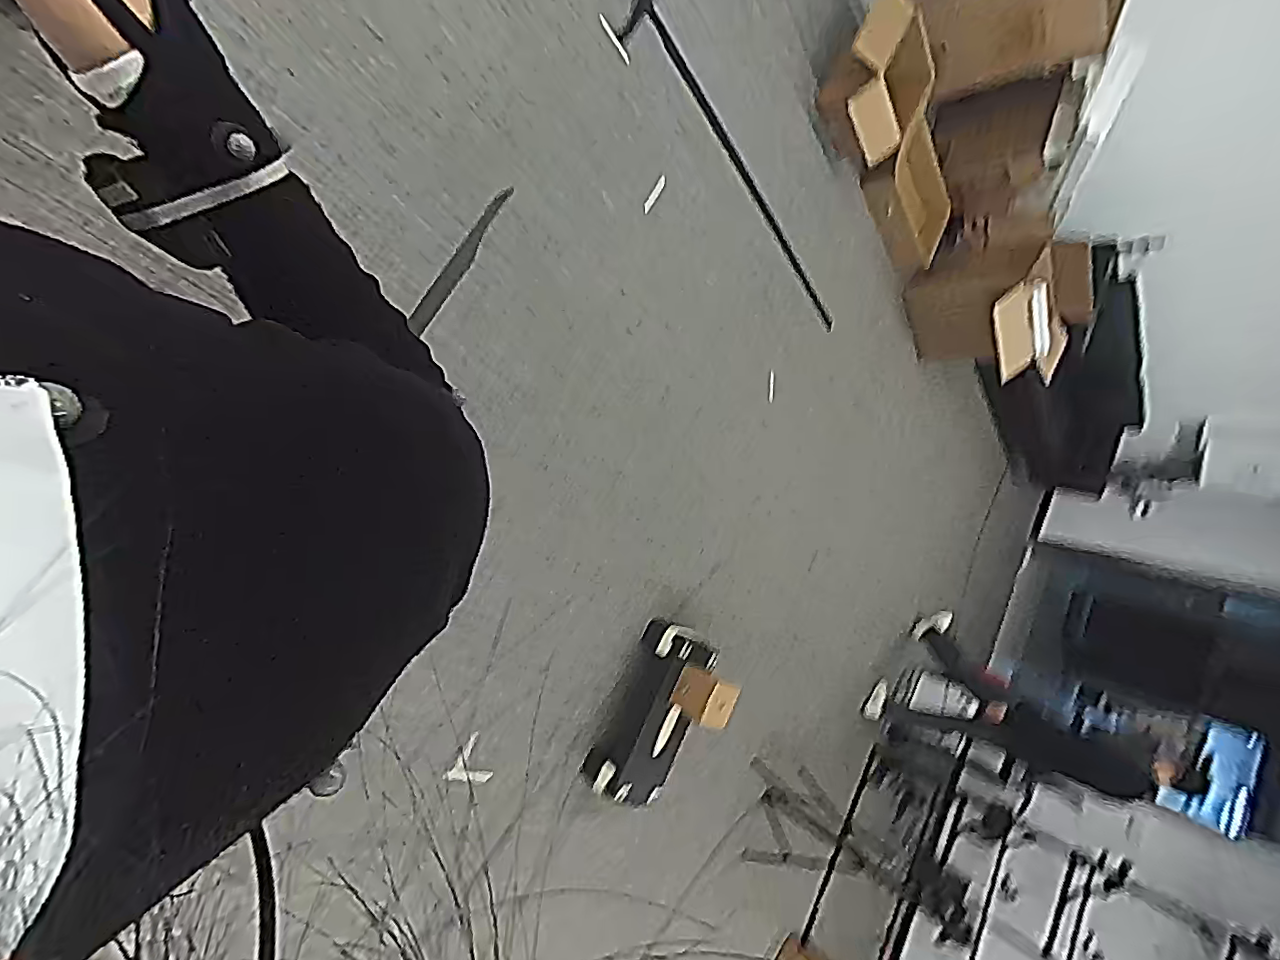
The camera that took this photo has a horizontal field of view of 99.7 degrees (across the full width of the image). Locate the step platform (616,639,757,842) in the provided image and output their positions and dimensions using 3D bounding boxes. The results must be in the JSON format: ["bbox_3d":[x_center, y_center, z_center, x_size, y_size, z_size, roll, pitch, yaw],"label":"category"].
[{"bbox_3d":[0.181,0.948,2.016,0.286,0.204,0.684,36,76,-41],"label":"step platform"}]

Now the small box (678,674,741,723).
[{"bbox_3d":[0.259,0.819,2.104,0.179,0.176,0.168,35,76,-41],"label":"small box"}]
